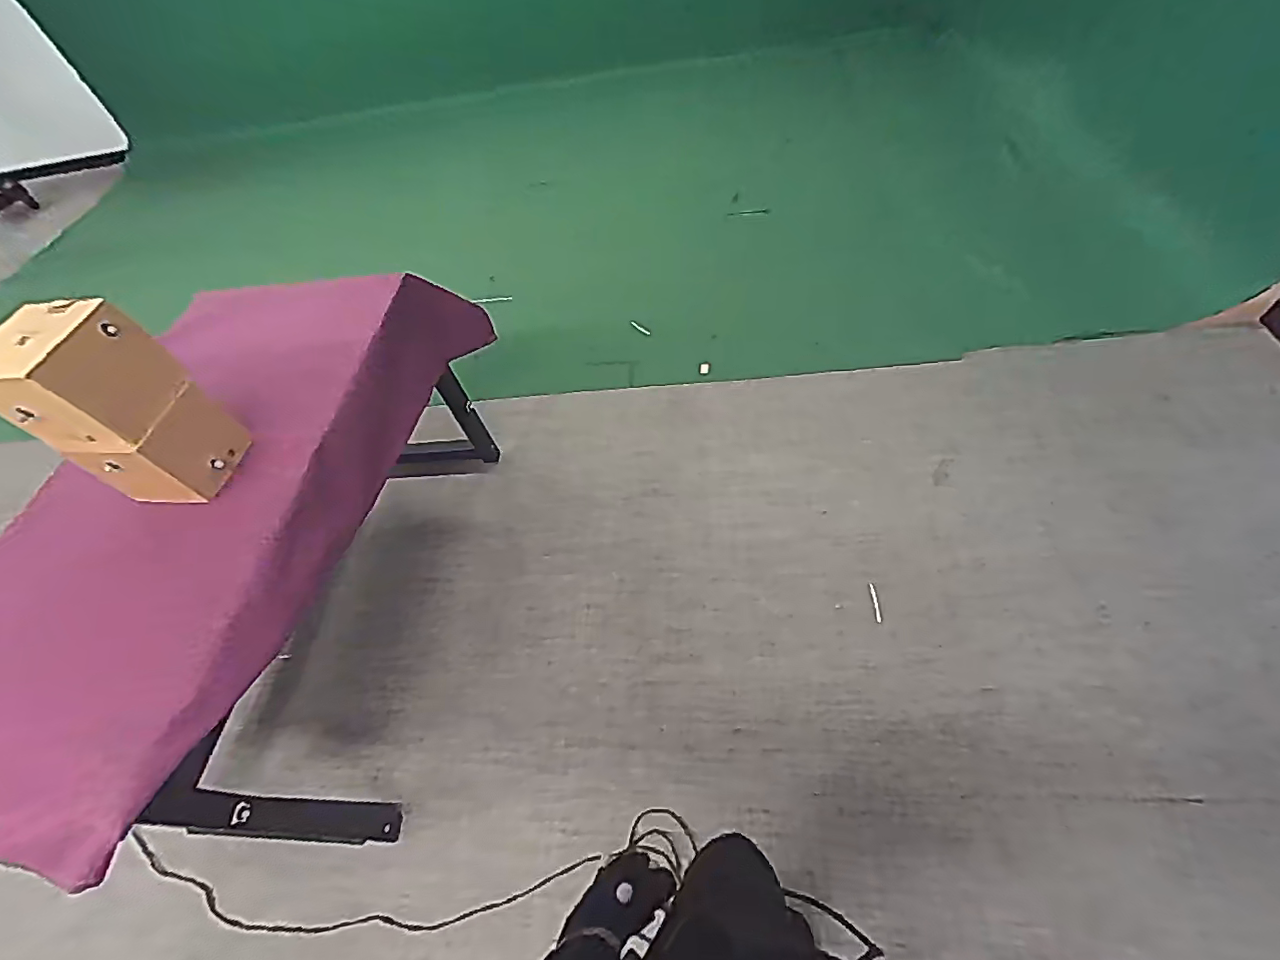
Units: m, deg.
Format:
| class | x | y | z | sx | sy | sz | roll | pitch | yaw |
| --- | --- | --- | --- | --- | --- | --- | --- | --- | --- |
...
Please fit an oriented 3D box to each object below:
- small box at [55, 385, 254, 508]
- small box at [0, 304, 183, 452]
| class | x | y | z | sx | sy | sz | roll | pitch | yaw |
| --- | --- | --- | --- | --- | --- | --- | --- | --- | --- |
| small box | -0.883 | -0.059 | 1.003 | 0.179 | 0.176 | 0.168 | 1 | 56 | 11 |
| small box | -0.909 | -0.156 | 0.876 | 0.168 | 0.176 | 0.179 | -1 | 55 | 11 |
